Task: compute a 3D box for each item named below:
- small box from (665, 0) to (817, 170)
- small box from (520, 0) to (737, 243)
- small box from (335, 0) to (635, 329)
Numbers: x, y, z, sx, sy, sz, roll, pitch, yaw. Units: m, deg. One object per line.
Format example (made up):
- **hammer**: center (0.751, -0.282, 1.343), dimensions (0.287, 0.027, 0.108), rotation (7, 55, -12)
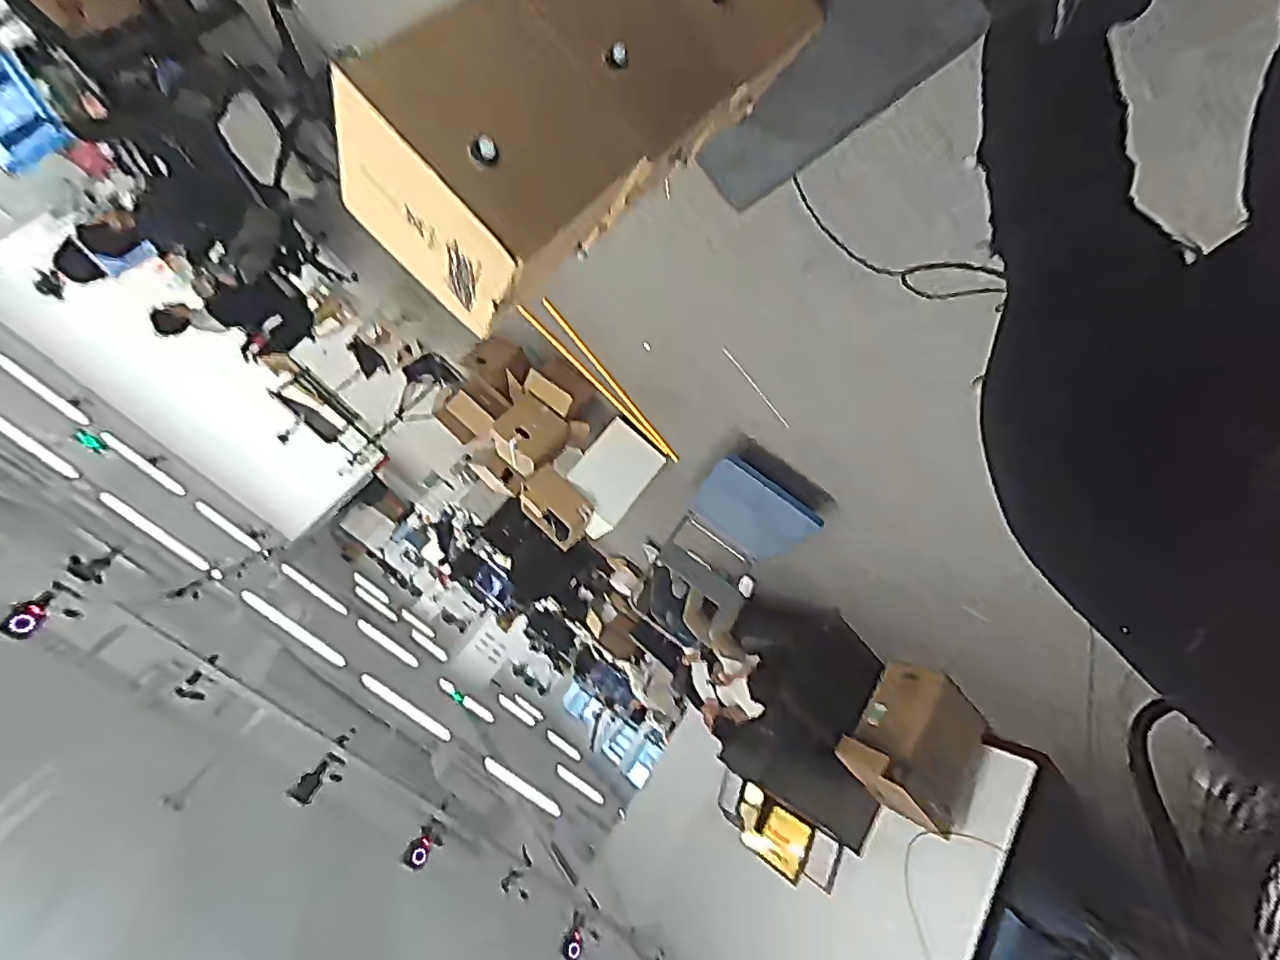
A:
- **small box**: center (0.061, -0.509, 0.611), dimensions (0.179, 0.176, 0.168), rotation (45, 158, -16)
- **small box**: center (-0.035, -0.392, 0.550), dimensions (0.179, 0.176, 0.168), rotation (45, 157, -16)
- **small box**: center (-0.135, -0.278, 0.488), dimensions (0.179, 0.176, 0.168), rotation (45, 156, -14)
